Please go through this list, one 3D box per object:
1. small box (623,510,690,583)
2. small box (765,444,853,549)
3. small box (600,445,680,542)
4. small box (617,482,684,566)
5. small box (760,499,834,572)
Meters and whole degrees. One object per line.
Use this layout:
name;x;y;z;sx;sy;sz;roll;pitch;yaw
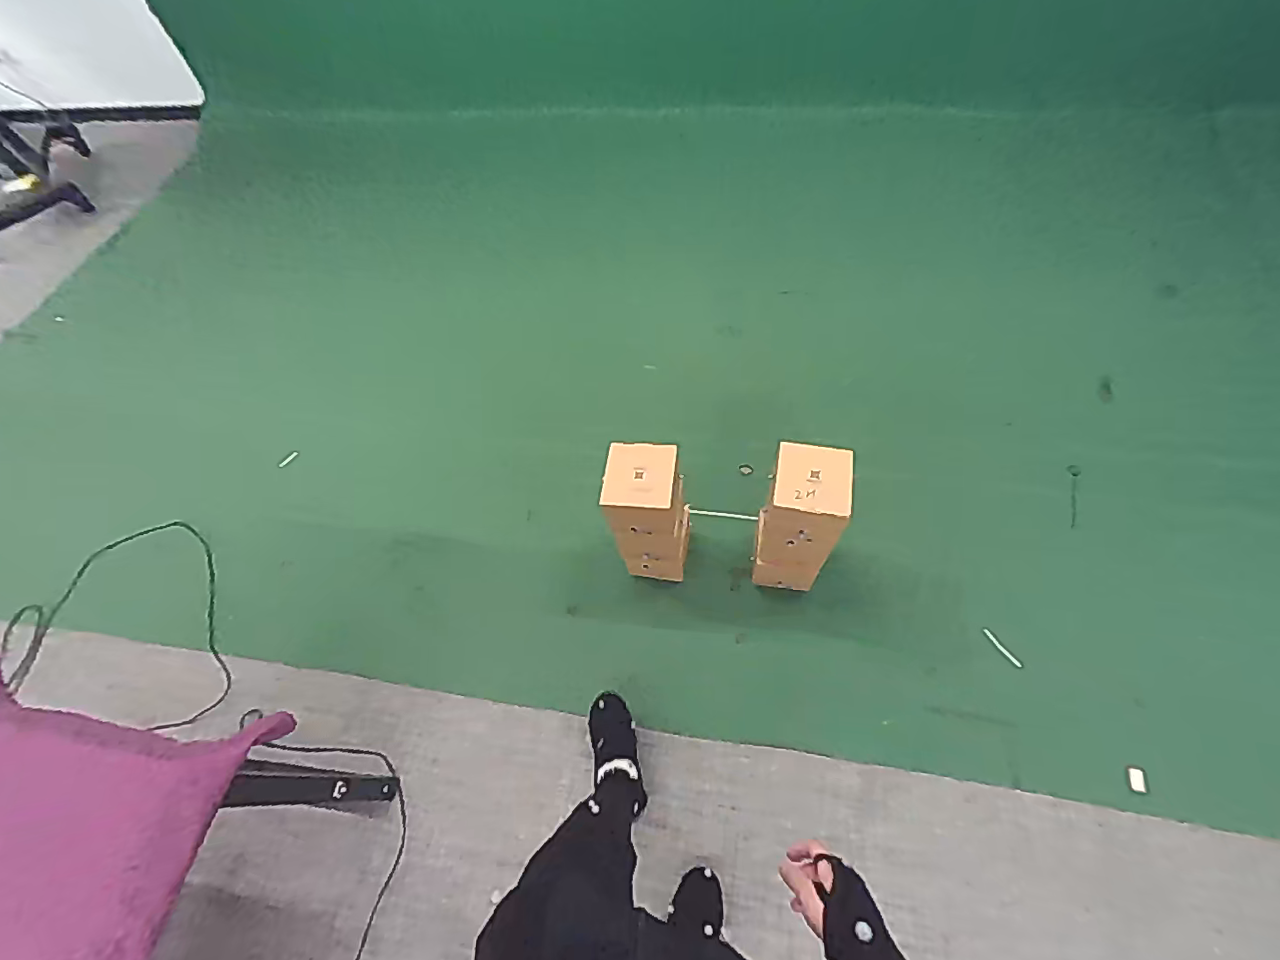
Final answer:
small box;0.055;0.194;1.607;0.168;0.176;0.179;6;60;10
small box;0.395;0.041;1.275;0.168;0.176;0.179;9;62;11
small box;0.007;0.034;1.326;0.168;0.176;0.179;3;60;9
small box;0.030;0.116;1.464;0.168;0.176;0.179;3;60;9
small box;0.413;0.120;1.419;0.168;0.176;0.179;9;61;11
